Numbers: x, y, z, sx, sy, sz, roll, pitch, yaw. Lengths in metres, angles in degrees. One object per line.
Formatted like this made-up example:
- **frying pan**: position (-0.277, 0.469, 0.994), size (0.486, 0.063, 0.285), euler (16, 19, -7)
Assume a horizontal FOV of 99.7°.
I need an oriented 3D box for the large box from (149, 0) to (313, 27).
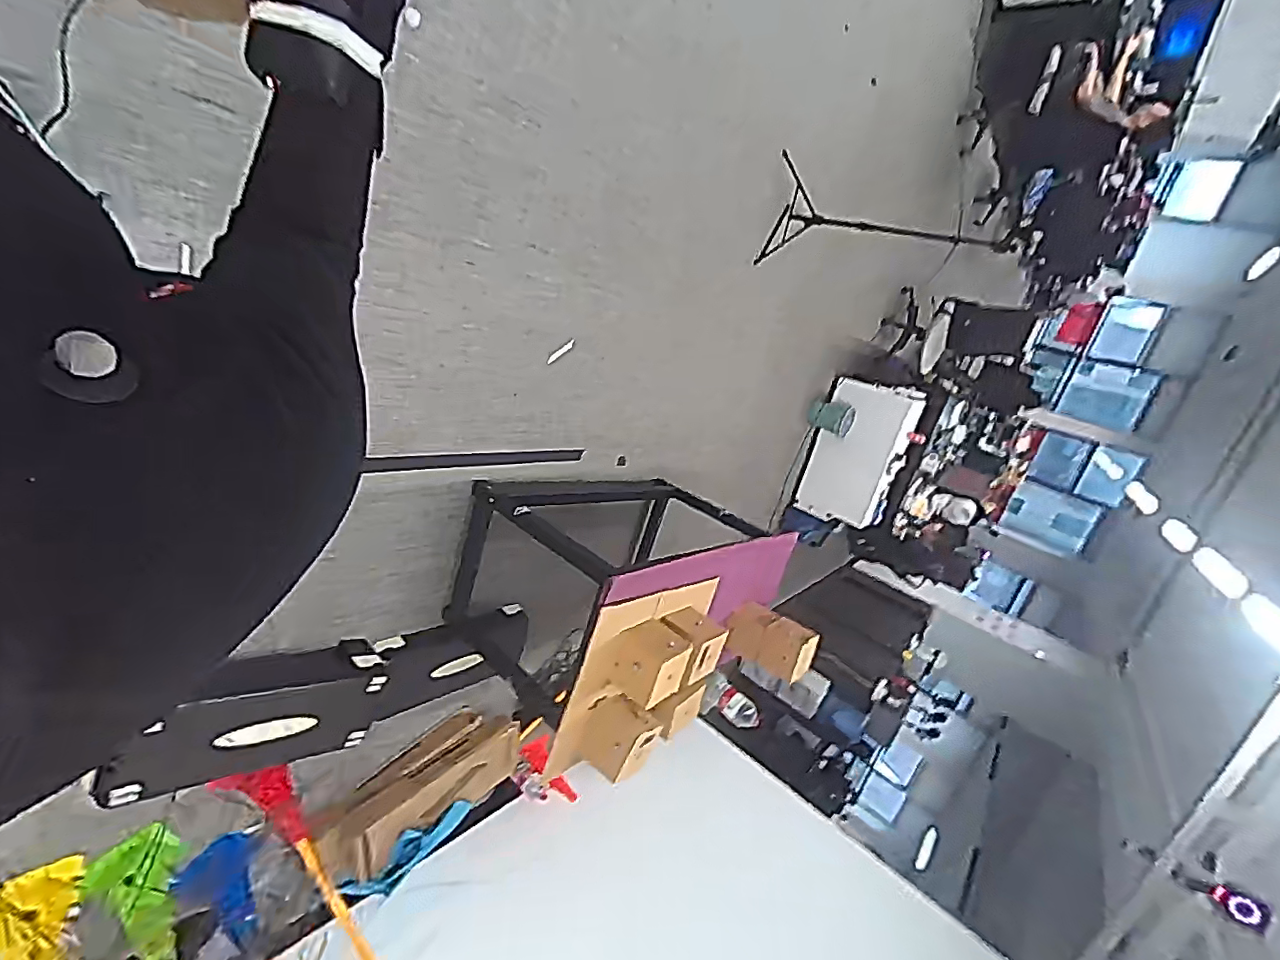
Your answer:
- **large box**: position (-0.408, -0.533, 0.268), size (0.408, 0.320, 0.320), euler (2, 117, -56)
